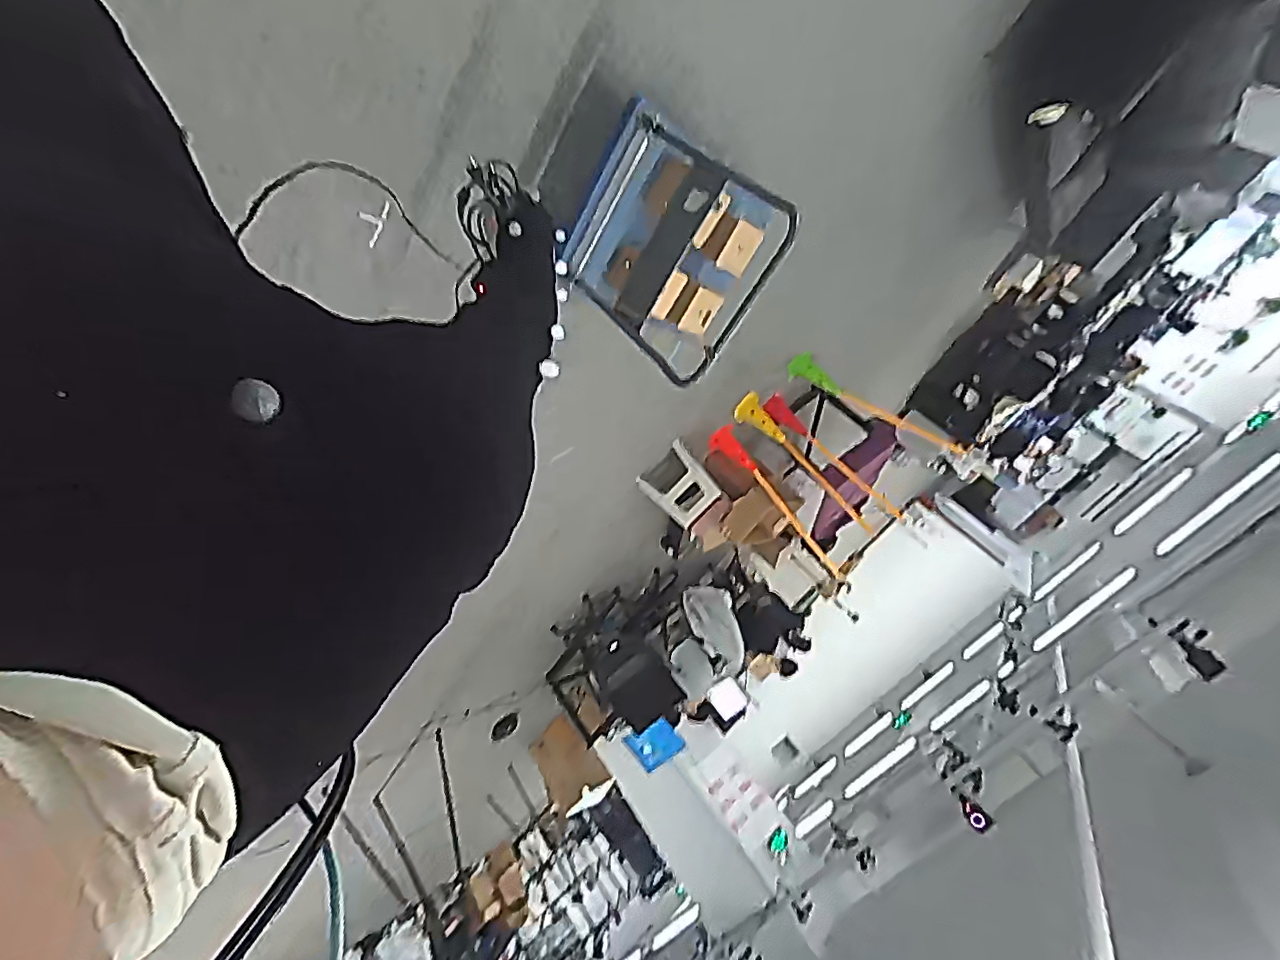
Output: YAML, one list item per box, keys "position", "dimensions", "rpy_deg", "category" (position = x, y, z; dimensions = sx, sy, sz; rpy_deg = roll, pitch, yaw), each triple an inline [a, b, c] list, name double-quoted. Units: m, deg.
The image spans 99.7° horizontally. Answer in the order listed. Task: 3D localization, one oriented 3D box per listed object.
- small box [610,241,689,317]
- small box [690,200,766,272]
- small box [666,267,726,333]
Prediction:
- position: [0.030, -0.696, 1.868]
  dimensions: [0.179, 0.176, 0.168]
  rpy_deg: [1, 130, -51]
  category: "small box"
- position: [0.315, -0.886, 1.961]
  dimensions: [0.179, 0.176, 0.168]
  rpy_deg: [-5, 136, -49]
  category: "small box"
- position: [0.191, -0.692, 2.076]
  dimensions: [0.179, 0.176, 0.168]
  rpy_deg: [-2, 132, -49]
  category: "small box"
